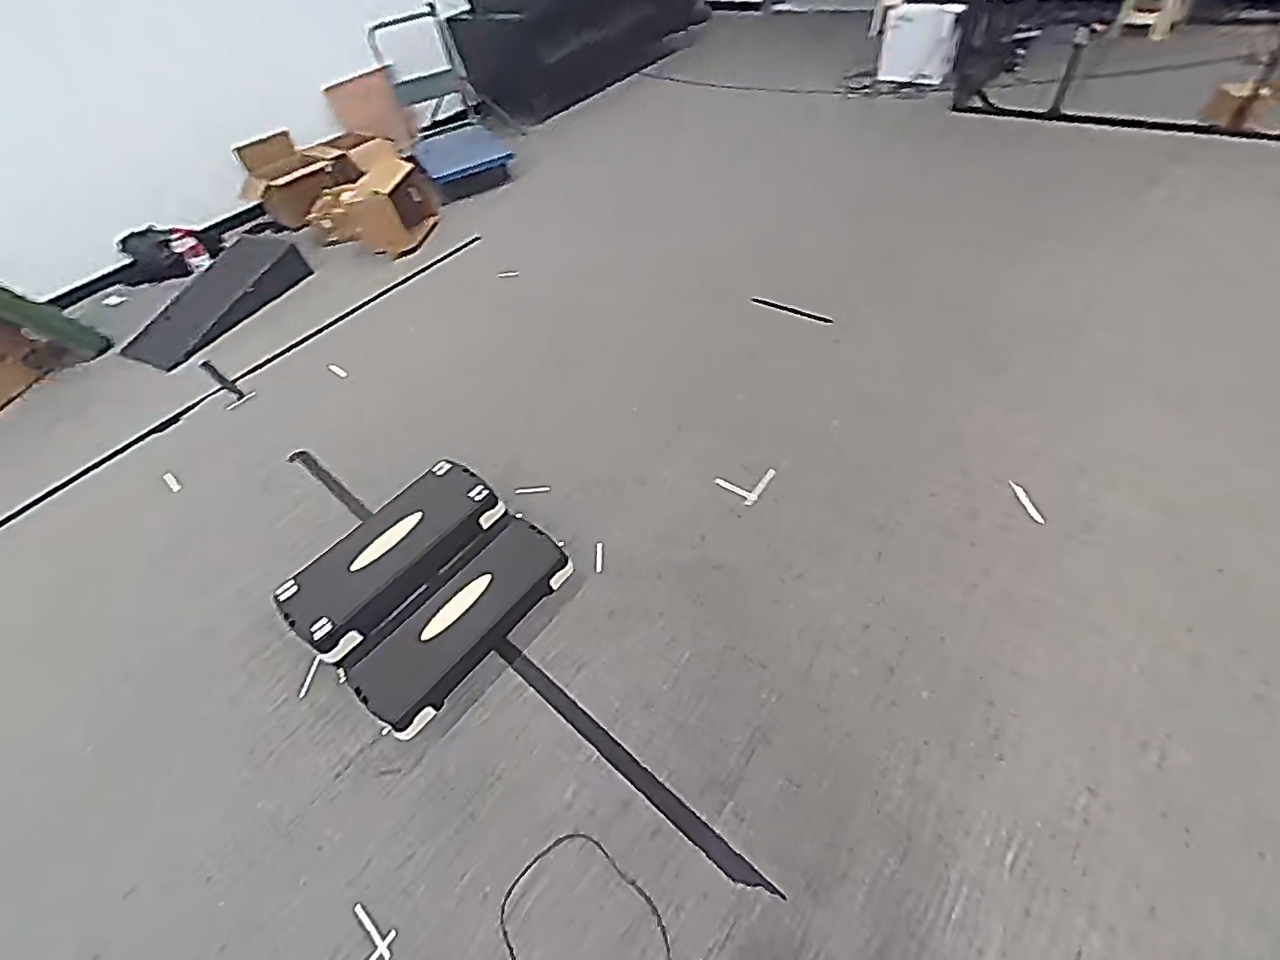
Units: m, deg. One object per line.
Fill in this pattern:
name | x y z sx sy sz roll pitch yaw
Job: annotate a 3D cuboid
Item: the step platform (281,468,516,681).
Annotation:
step platform | -0.729 0.267 1.684 0.286 0.204 0.684 29 60 29
